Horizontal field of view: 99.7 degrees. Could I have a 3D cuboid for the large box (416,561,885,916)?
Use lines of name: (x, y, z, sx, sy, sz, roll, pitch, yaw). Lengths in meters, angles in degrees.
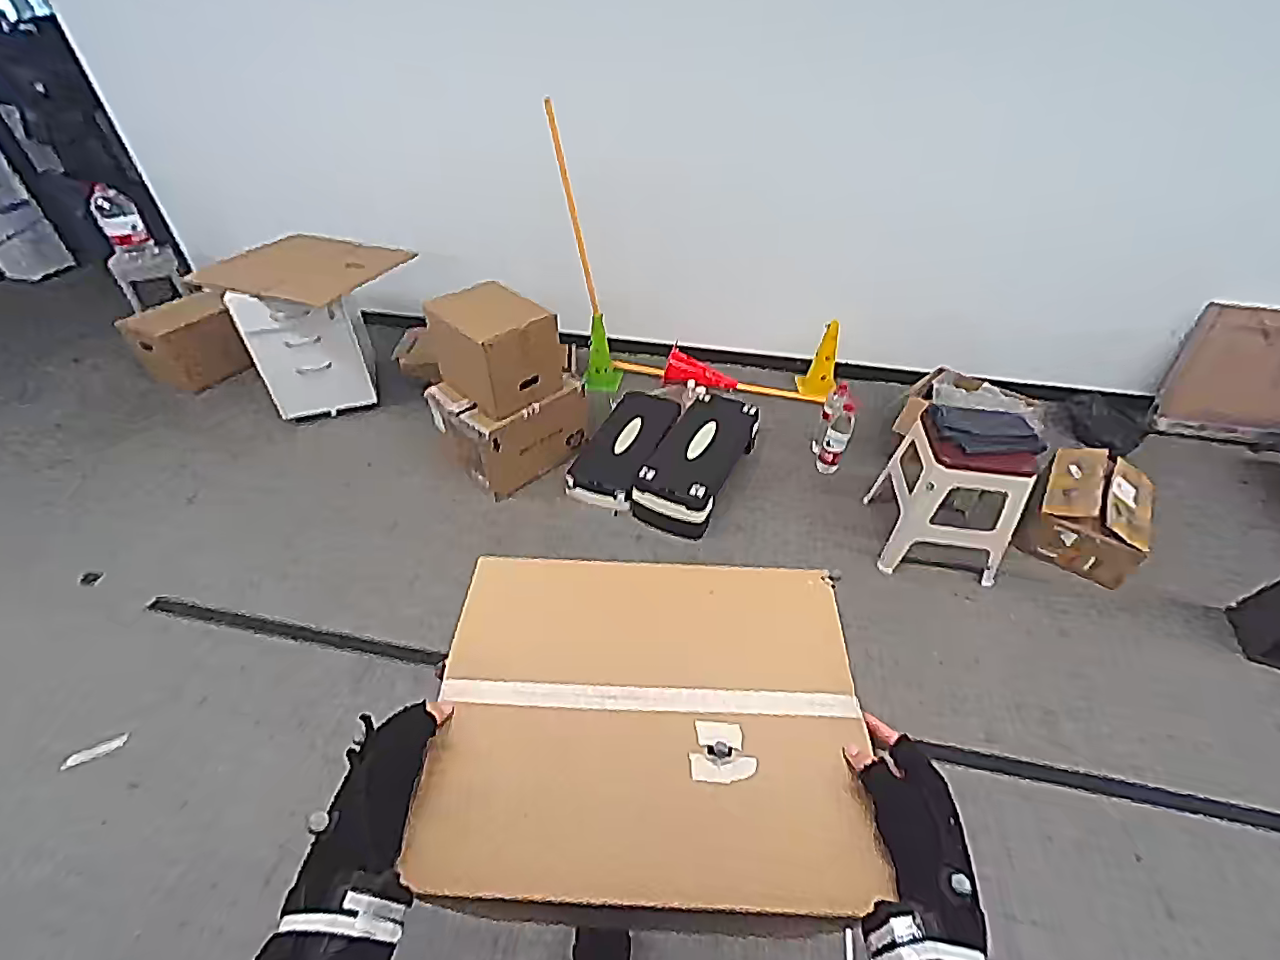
large box: (0.009, 0.317, 0.658, 0.408, 0.320, 0.320, 3, 48, 1)
